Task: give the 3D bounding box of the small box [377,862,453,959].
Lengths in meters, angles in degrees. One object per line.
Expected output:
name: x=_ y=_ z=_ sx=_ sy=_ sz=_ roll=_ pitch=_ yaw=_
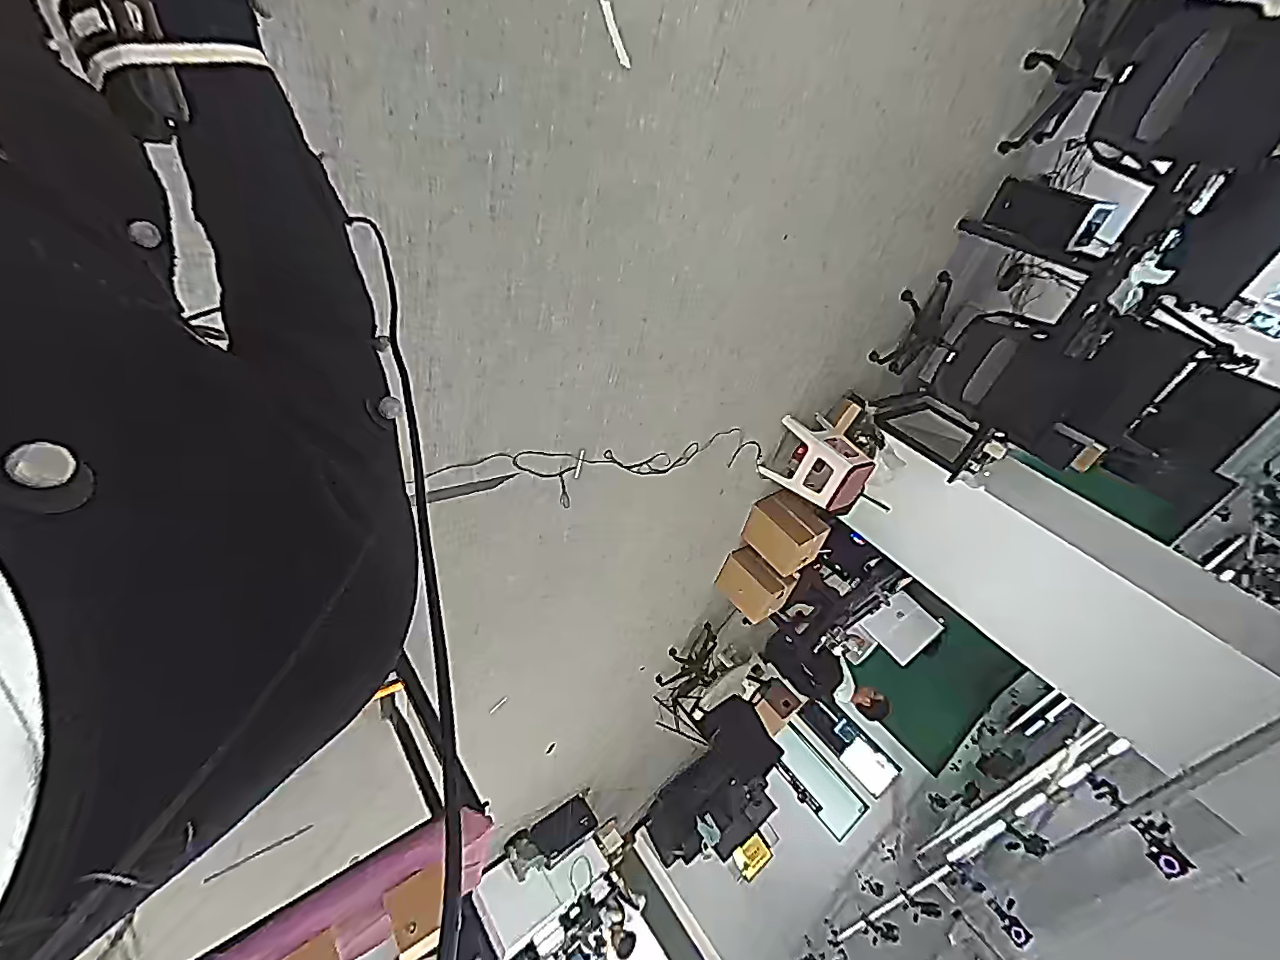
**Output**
small box: x=-0.681 y=1.309 z=1.628 sx=0.179 sy=0.176 sz=0.168 roll=-16 pitch=137 yaw=-35
